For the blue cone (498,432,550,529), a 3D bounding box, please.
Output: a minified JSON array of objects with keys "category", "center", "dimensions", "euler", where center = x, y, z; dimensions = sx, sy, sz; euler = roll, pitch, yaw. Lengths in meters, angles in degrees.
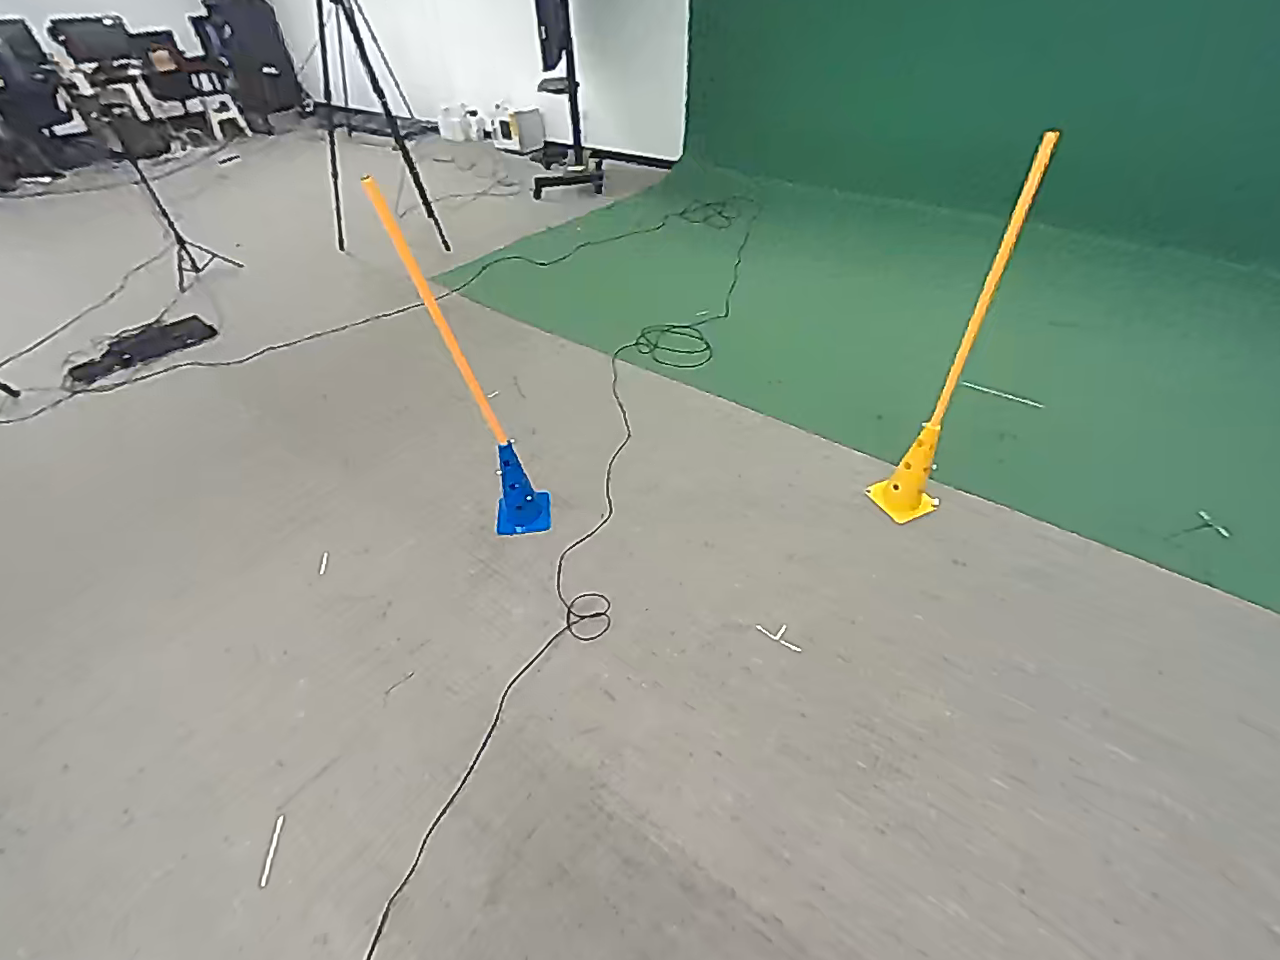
[{"category":"blue cone","center":[-0.445,-0.011,1.919],"dimensions":[0.193,0.380,0.192],"euler":[-8,45,-4]}]
